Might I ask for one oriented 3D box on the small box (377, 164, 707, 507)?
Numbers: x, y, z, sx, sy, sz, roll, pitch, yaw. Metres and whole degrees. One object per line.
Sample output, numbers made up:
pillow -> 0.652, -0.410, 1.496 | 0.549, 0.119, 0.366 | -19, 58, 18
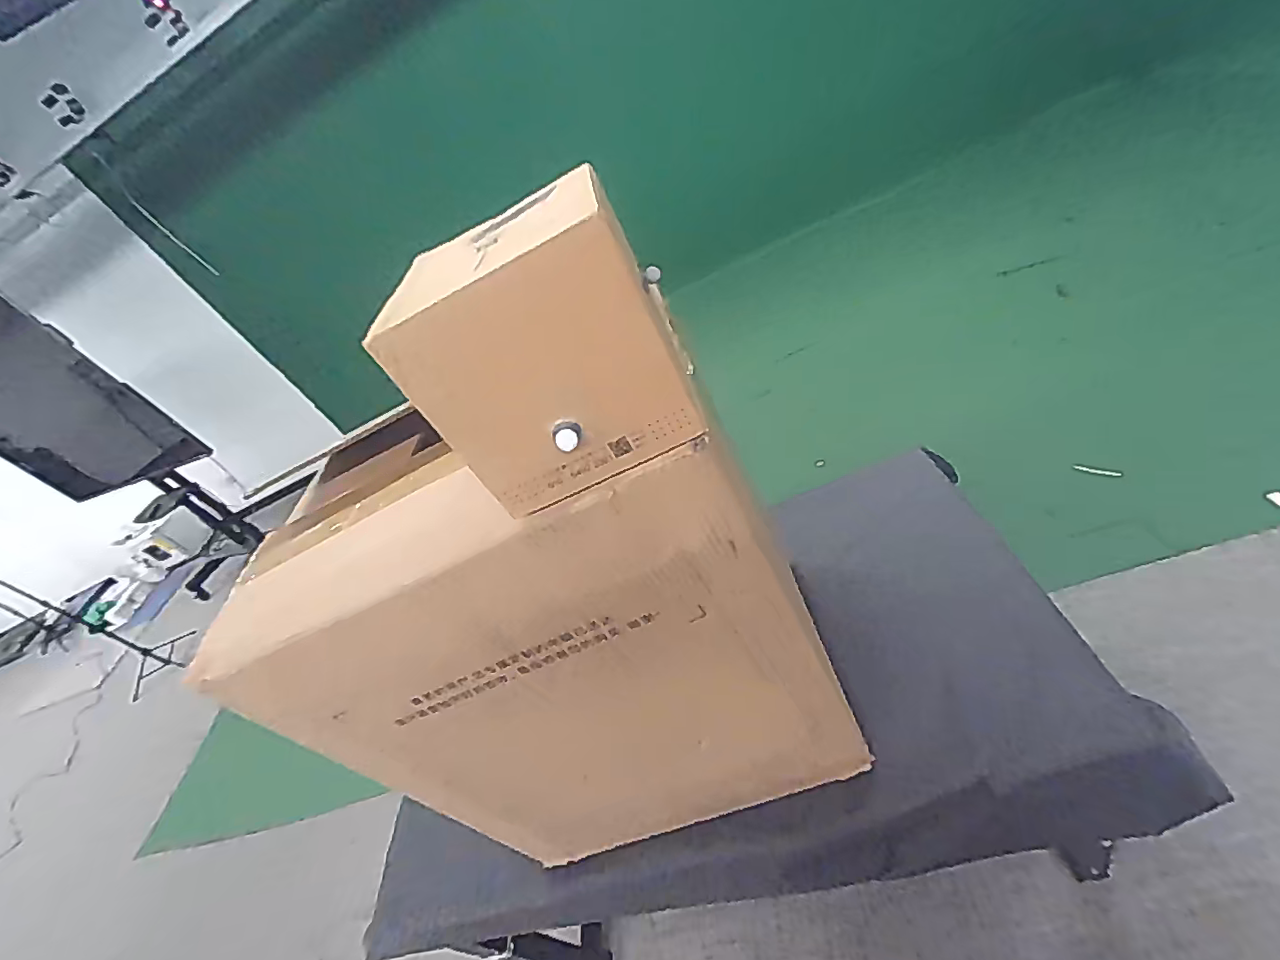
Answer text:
small box -> -0.062, -0.111, 0.425 | 0.168, 0.176, 0.179 | -23, 39, 11
